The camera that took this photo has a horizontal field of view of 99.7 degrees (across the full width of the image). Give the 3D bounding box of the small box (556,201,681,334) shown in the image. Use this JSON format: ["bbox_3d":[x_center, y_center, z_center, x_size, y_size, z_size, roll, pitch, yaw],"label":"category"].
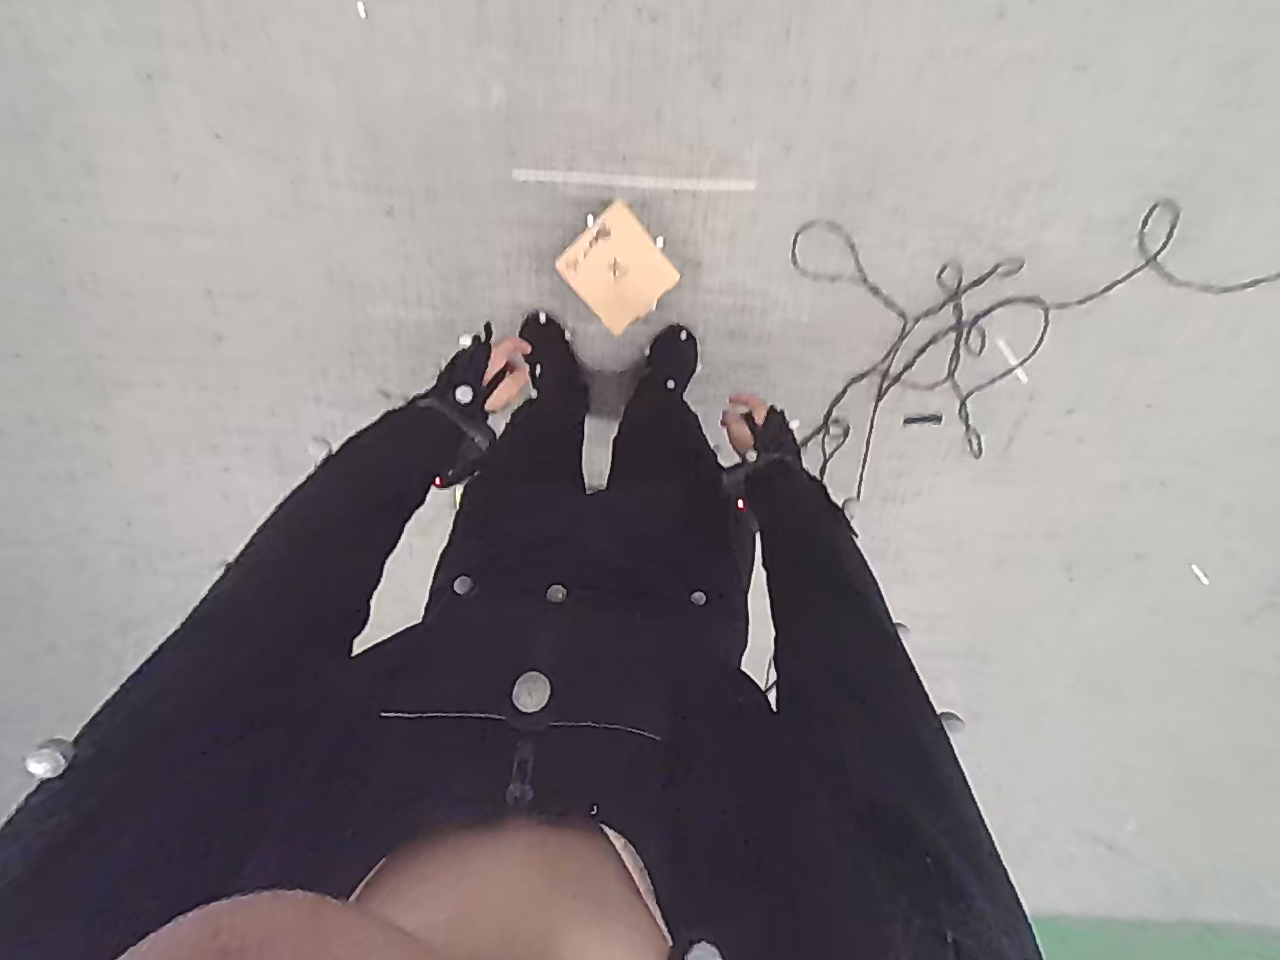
[{"bbox_3d":[-0.036,-0.420,1.060,0.168,0.176,0.179,-38,109,18],"label":"small box"}]
